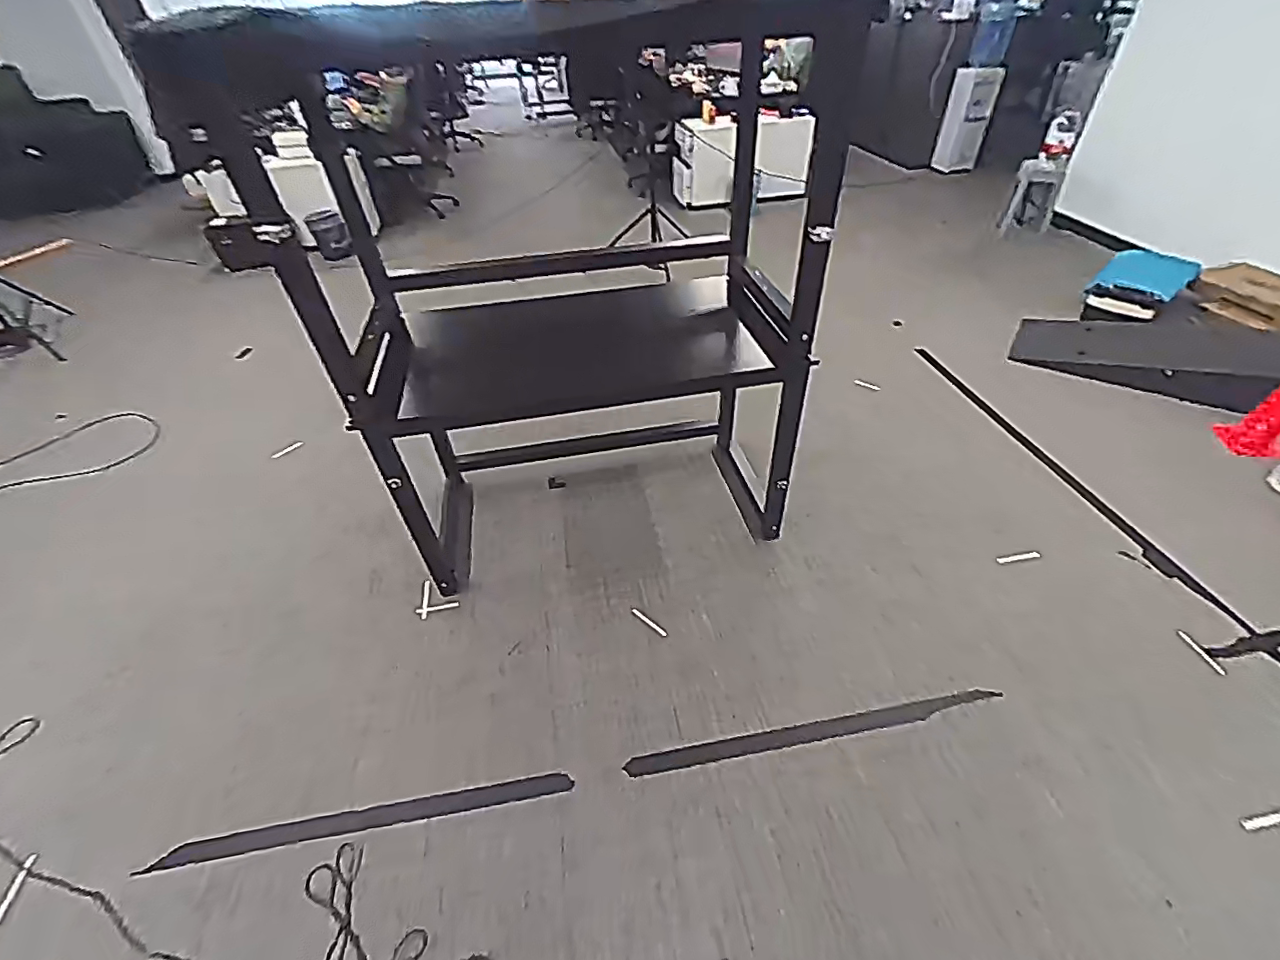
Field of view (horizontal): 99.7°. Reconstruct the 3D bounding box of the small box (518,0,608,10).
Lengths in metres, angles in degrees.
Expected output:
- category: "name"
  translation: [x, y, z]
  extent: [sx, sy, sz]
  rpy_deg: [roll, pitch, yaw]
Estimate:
- category: "small box"
  translation: [-0.138, -0.923, 0.924]
  extent: [0.168, 0.176, 0.179]
  rpy_deg: [-7, 42, -4]
